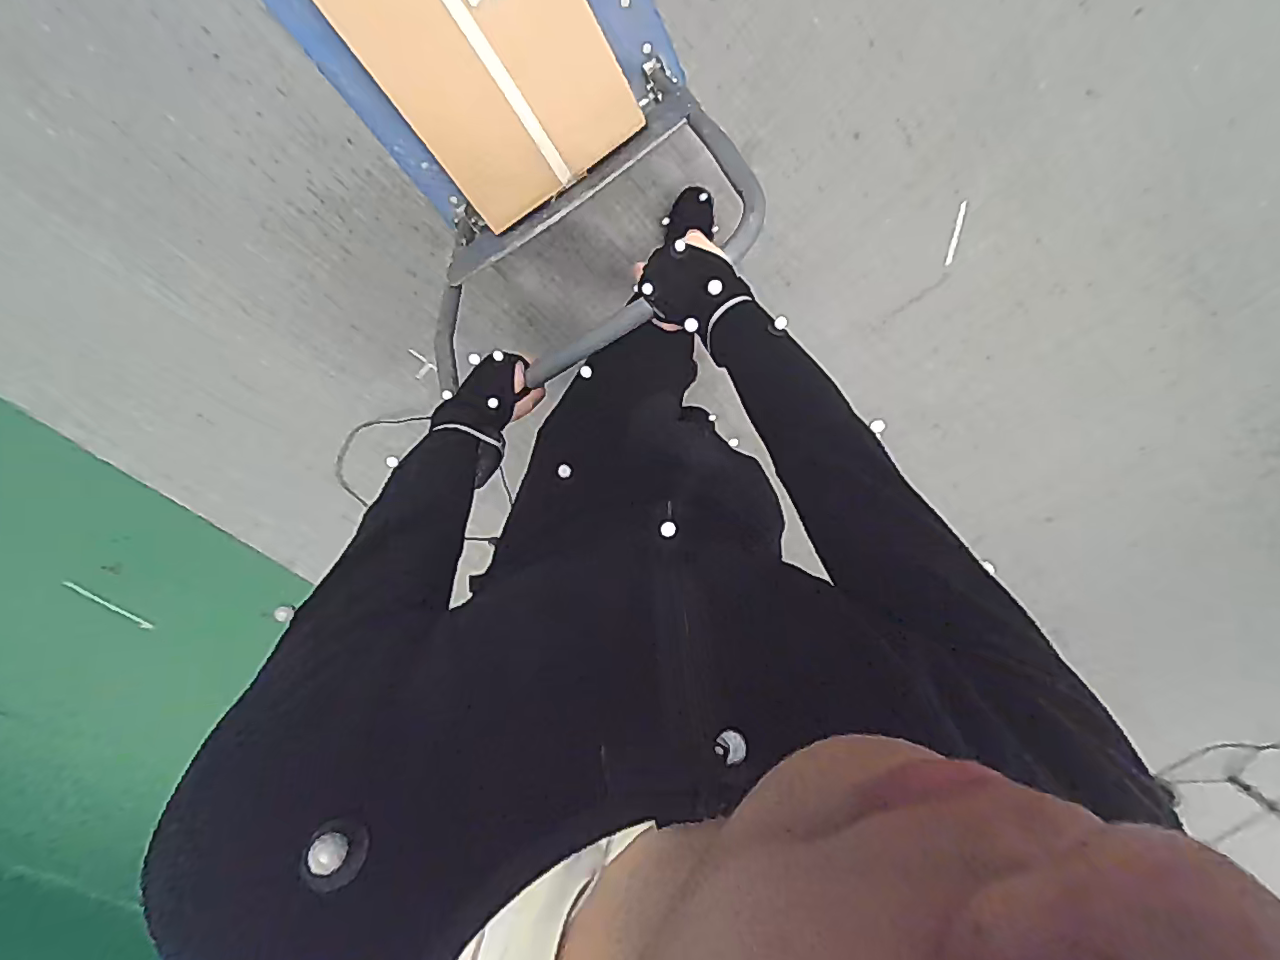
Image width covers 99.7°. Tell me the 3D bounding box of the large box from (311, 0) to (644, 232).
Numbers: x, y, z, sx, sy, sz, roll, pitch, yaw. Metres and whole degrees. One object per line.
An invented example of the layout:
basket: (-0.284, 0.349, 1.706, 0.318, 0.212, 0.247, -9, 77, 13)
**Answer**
large box: (-0.238, -0.713, 0.892, 0.320, 0.320, 0.408, -29, 129, 16)
